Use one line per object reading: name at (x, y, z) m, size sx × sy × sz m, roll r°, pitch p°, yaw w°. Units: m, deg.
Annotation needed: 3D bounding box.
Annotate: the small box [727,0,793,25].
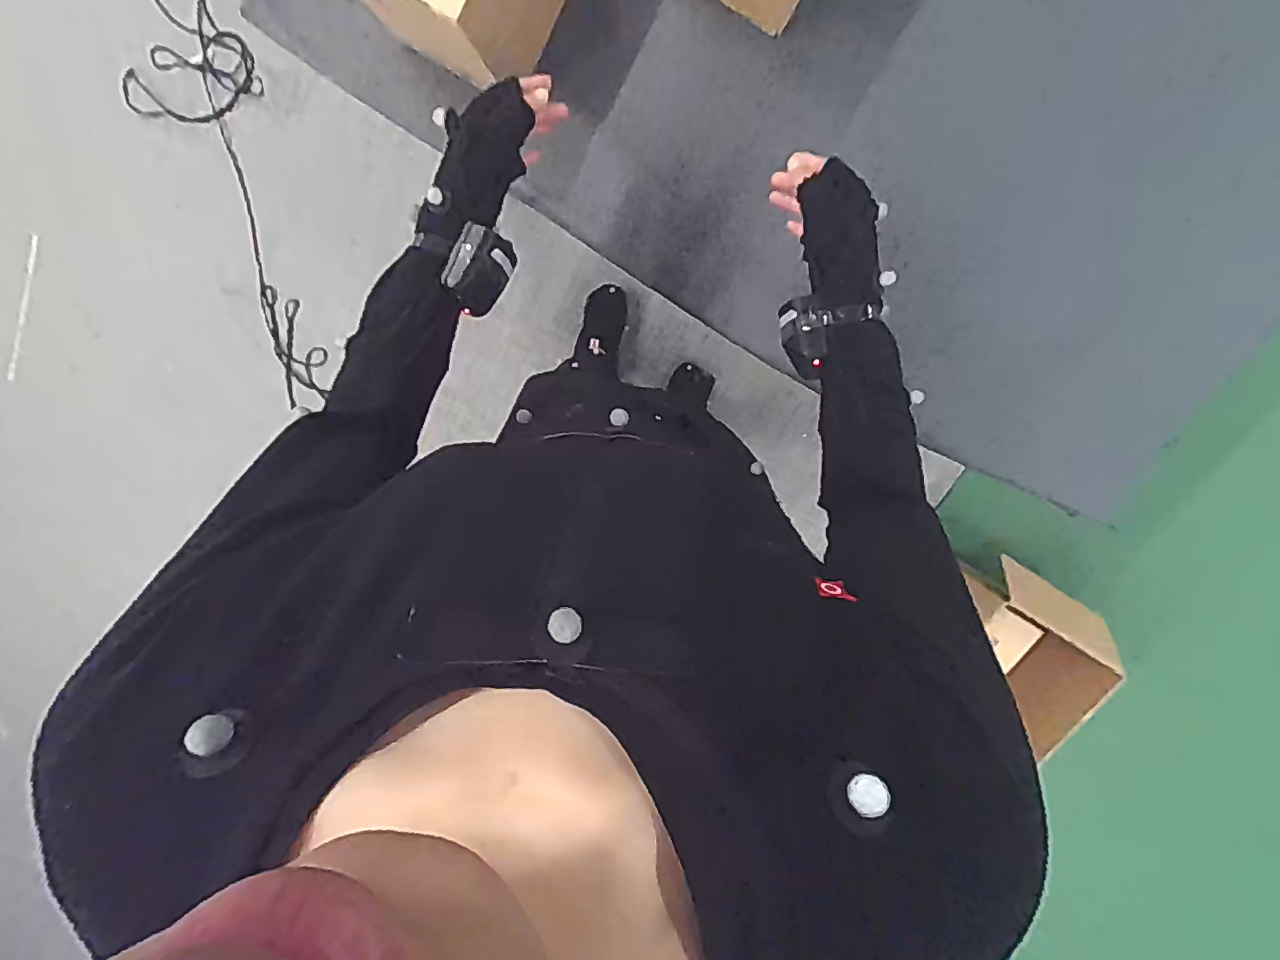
small box at (0.118, -0.588, 0.494) m, size 0.168 × 0.176 × 0.179 m, roll 32°, pitch 106°, yaw -2°
